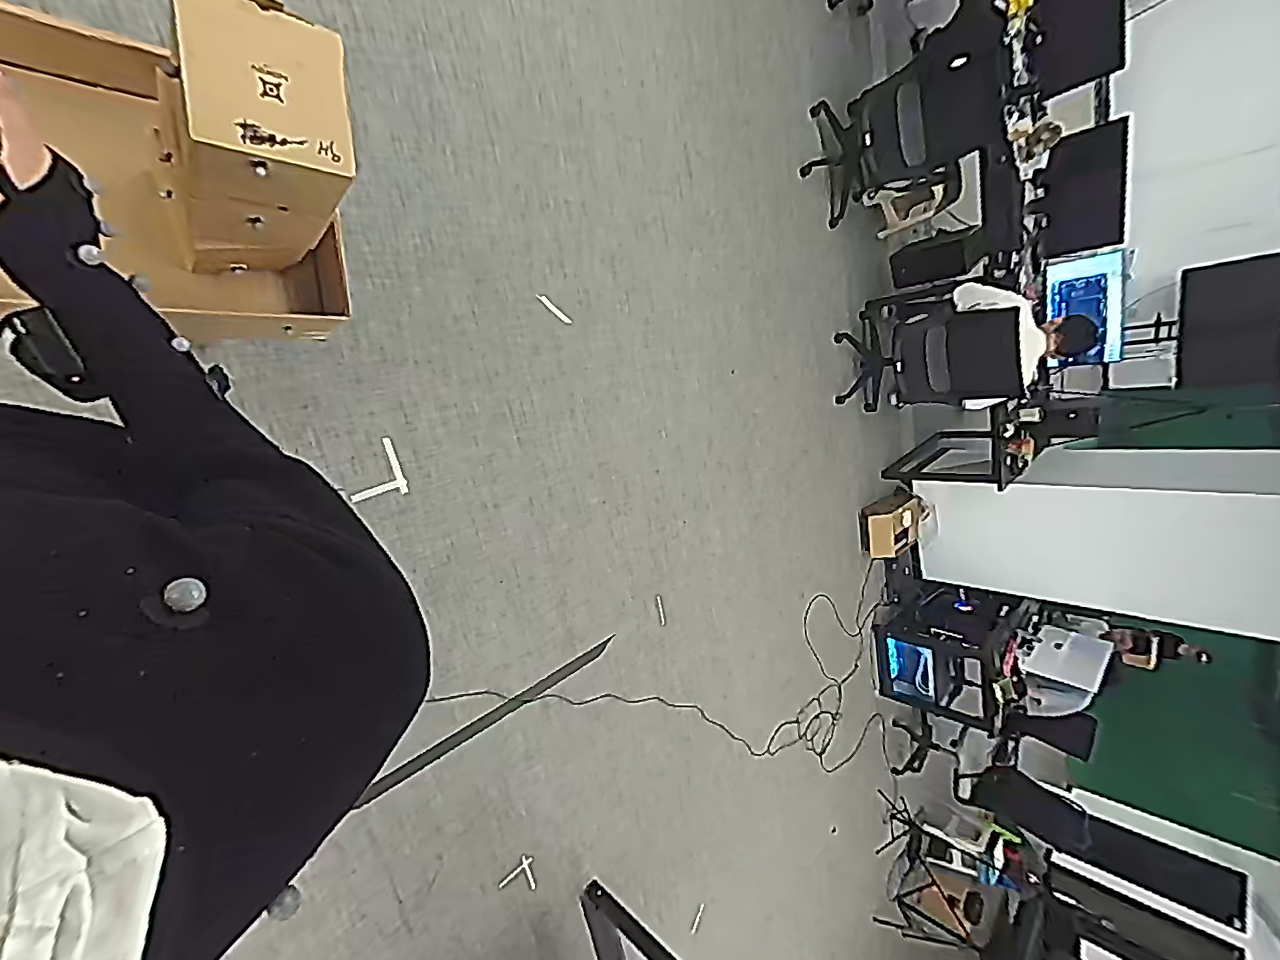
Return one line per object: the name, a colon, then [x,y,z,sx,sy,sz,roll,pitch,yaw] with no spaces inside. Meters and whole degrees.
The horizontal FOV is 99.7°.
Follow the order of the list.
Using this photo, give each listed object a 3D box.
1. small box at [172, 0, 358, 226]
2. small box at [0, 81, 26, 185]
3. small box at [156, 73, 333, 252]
small box: [-0.473,-0.450,0.680,0.168,0.176,0.179,-7,95,-40]
small box: [-0.622,-0.335,0.409,0.179,0.176,0.168,-17,112,-36]
small box: [-0.582,-0.450,0.803,0.179,0.176,0.168,-15,102,-40]
